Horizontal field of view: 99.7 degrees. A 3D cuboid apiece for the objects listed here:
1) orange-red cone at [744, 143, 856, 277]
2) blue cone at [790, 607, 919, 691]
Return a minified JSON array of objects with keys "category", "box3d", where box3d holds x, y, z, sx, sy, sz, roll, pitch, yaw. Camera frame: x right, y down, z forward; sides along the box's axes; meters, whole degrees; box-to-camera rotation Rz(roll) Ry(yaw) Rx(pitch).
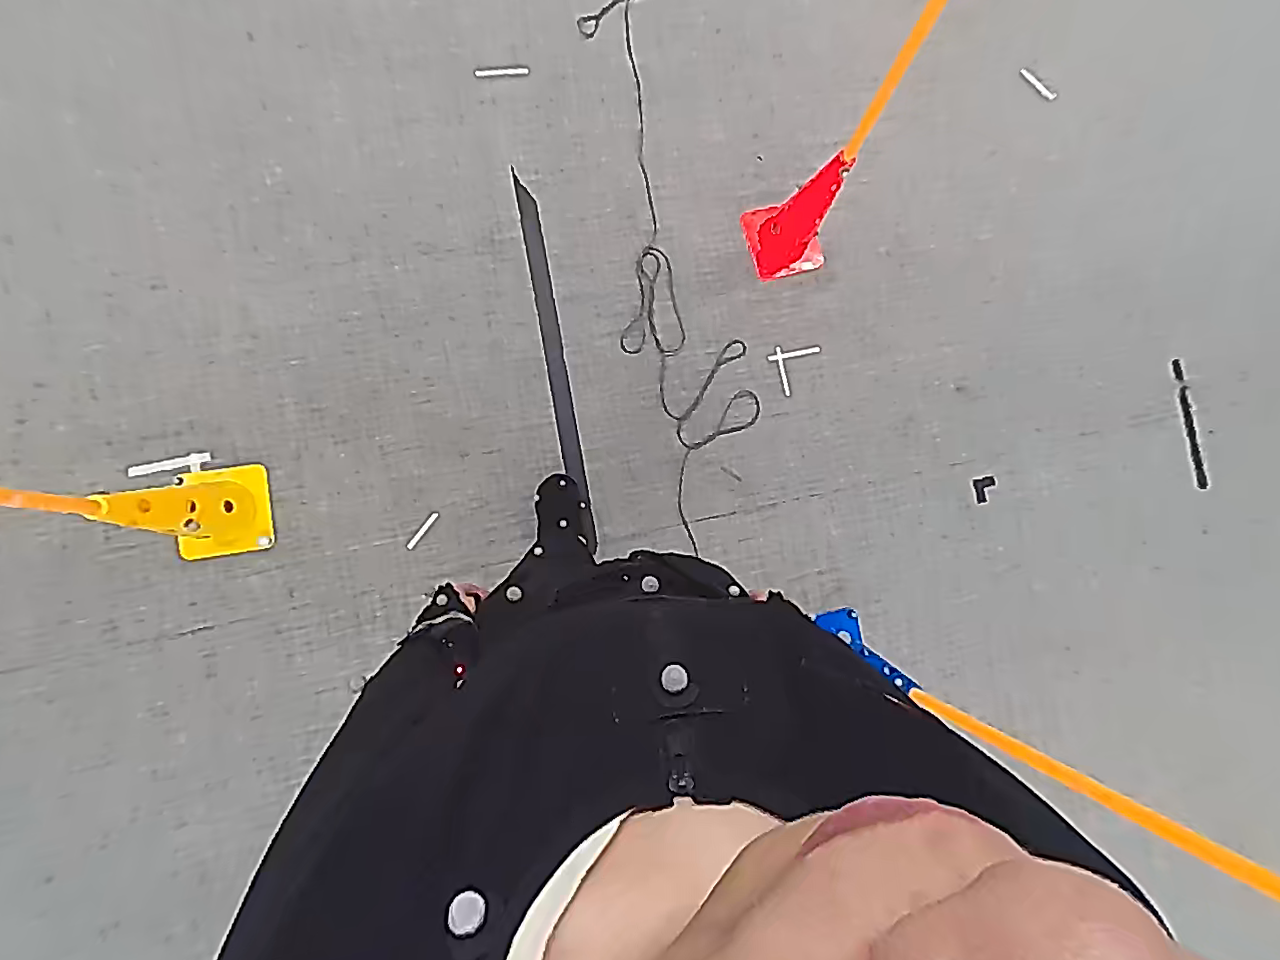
[{"category":"orange-red cone","box3d":[0.419,-0.679,1.316,0.199,0.360,0.198,-16,87,-8]},{"category":"blue cone","box3d":[0.515,0.426,1.252,0.193,0.380,0.192,-8,86,-9]}]
